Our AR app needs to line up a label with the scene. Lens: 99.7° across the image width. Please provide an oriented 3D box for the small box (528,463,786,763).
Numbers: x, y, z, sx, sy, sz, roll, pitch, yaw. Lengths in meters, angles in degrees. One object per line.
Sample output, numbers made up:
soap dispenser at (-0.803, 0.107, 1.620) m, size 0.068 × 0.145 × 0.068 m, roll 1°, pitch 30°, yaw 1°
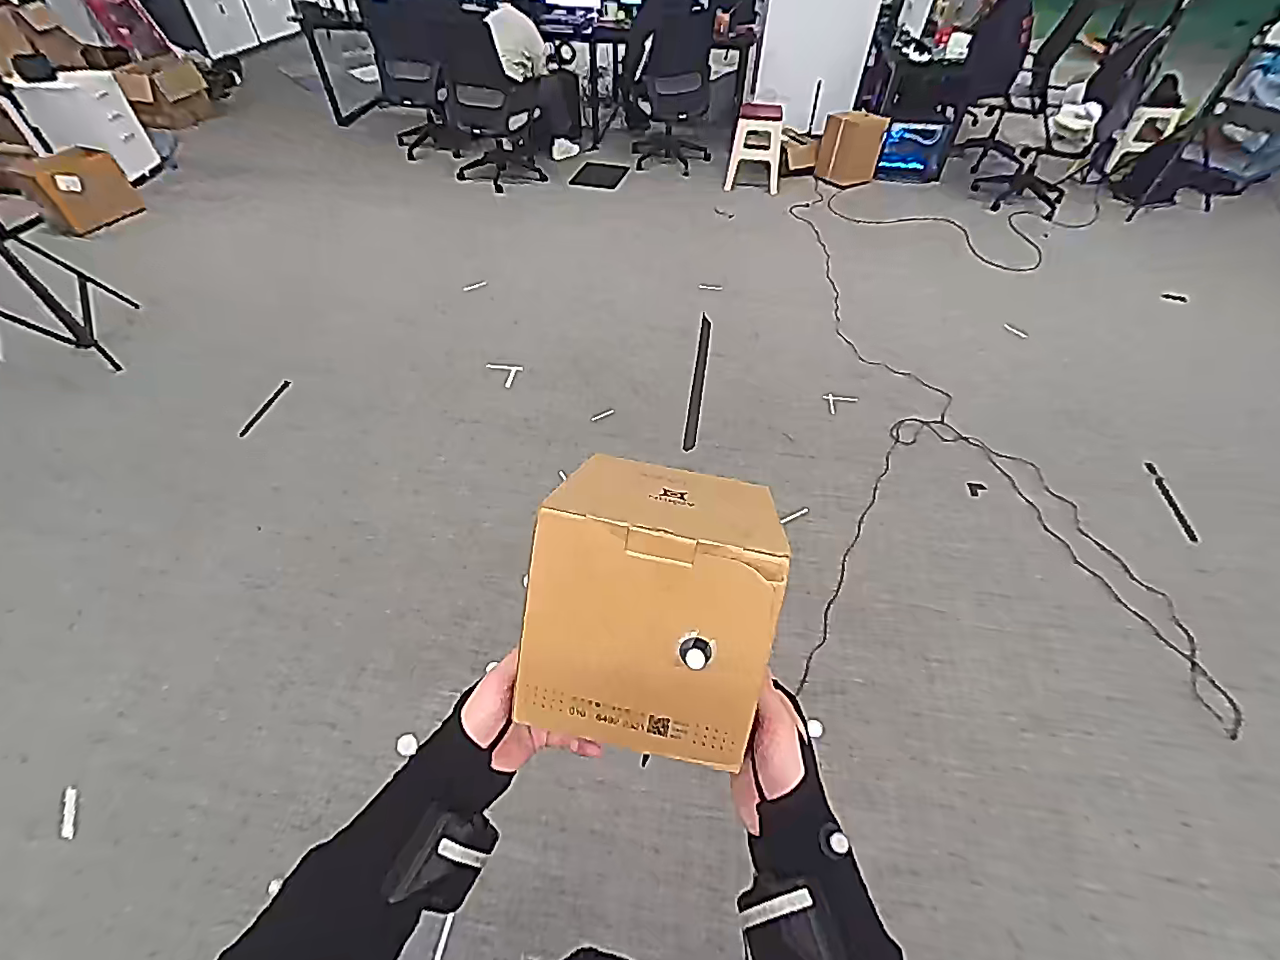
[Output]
small box at (0.013, 0.096, 0.451) m, size 0.168 × 0.176 × 0.179 m, roll 12°, pitch 14°, yaw 5°
